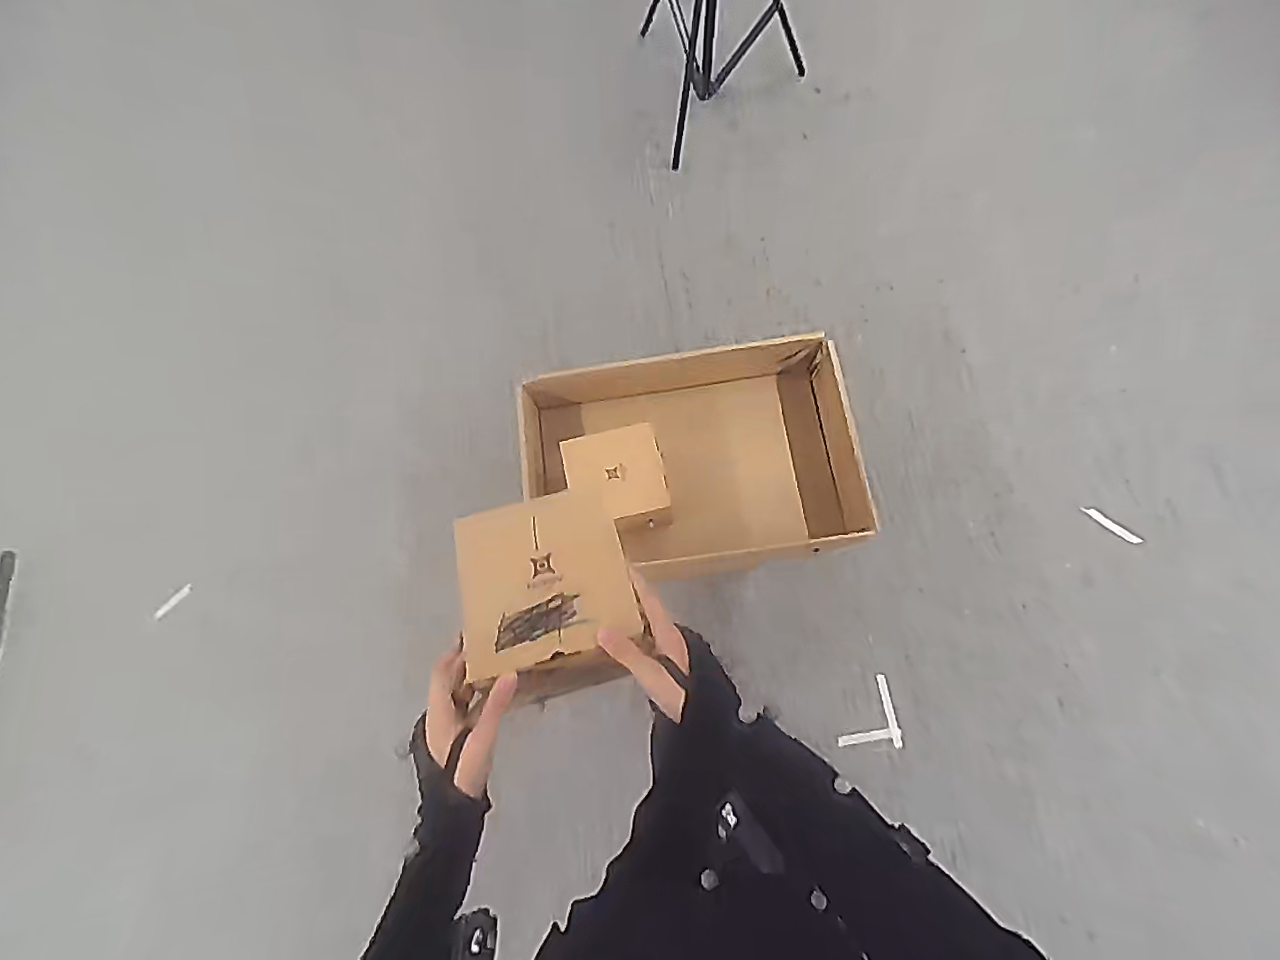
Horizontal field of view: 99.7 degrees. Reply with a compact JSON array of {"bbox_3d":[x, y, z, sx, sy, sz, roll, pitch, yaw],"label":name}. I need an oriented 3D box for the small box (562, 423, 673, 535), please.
[{"bbox_3d":[-0.038,0.009,1.035,0.179,0.176,0.168,-13,74,1],"label":"small box"}]

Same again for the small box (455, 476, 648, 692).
[{"bbox_3d":[-0.091,0.126,0.605,0.168,0.176,0.179,-15,61,-5],"label":"small box"}]
